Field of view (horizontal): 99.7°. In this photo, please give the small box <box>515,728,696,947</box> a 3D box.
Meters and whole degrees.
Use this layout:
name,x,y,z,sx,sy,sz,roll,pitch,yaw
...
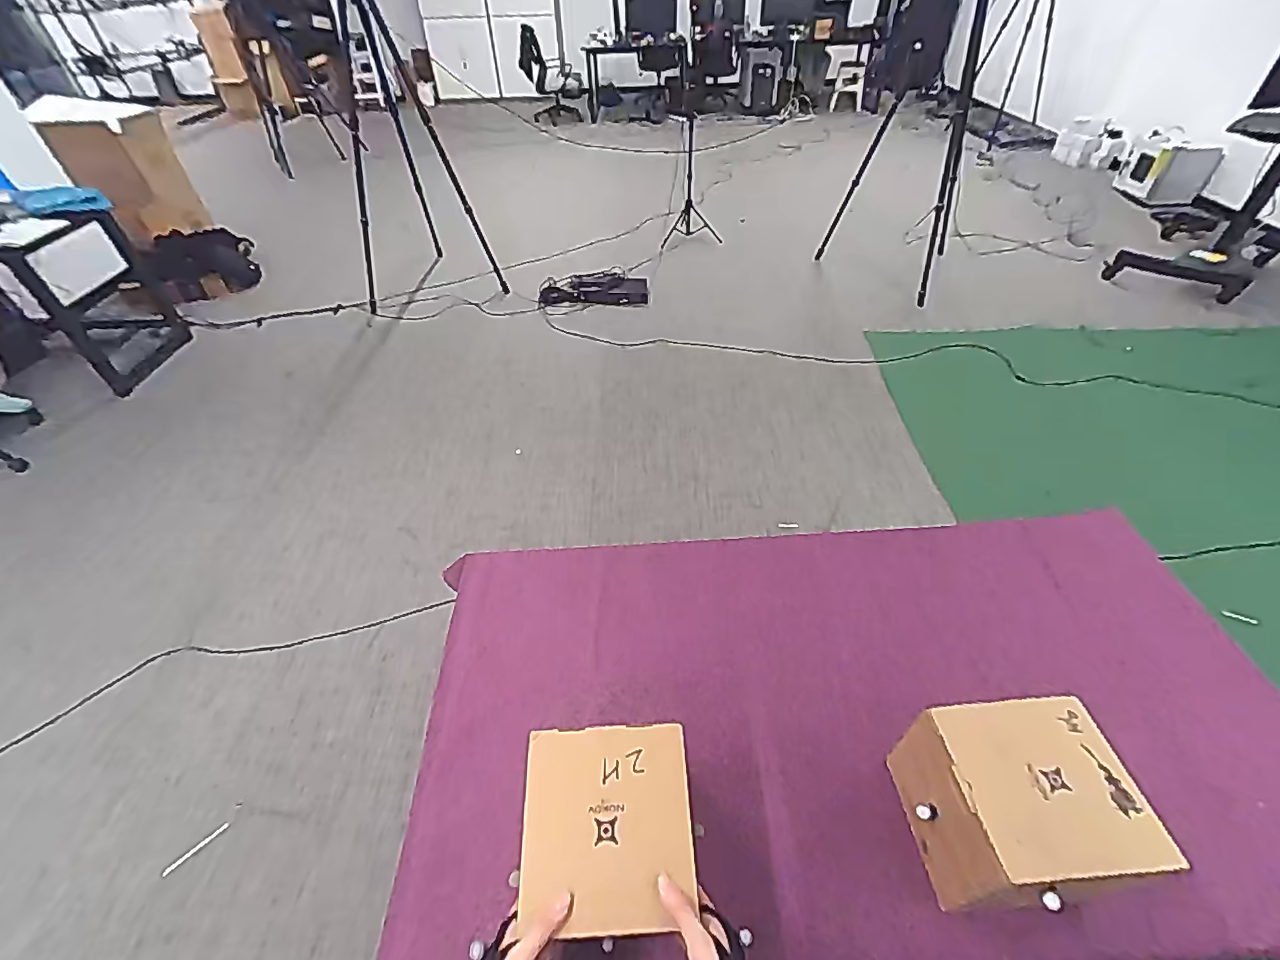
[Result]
name,x,y,z,sx,sy,sz,roll,pitch,yaw
small box,-0.031,0.385,0.590,0.168,0.176,0.179,-2,52,-1

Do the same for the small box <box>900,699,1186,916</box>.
name,x,y,z,sx,sy,sz,roll,pitch,yaw
small box,0.415,0.367,0.604,0.179,0.176,0.168,-4,44,-1
